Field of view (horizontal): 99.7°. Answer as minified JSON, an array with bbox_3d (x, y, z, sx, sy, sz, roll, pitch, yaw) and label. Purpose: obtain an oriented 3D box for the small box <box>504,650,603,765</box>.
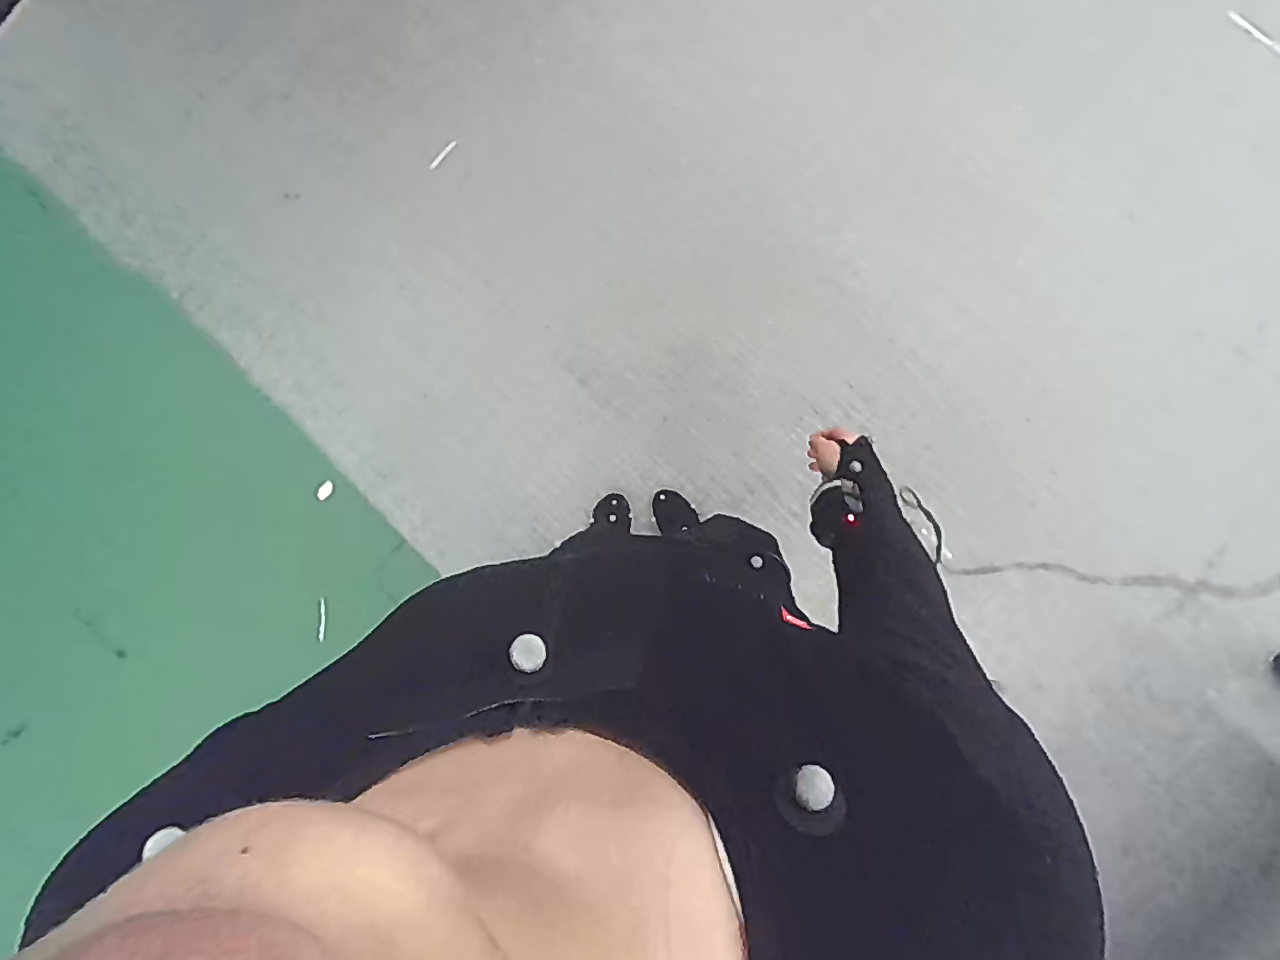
[{"bbox_3d":[-0.206,0.555,1.351,0.179,0.176,0.168,-44,86,0],"label":"small box"}]
